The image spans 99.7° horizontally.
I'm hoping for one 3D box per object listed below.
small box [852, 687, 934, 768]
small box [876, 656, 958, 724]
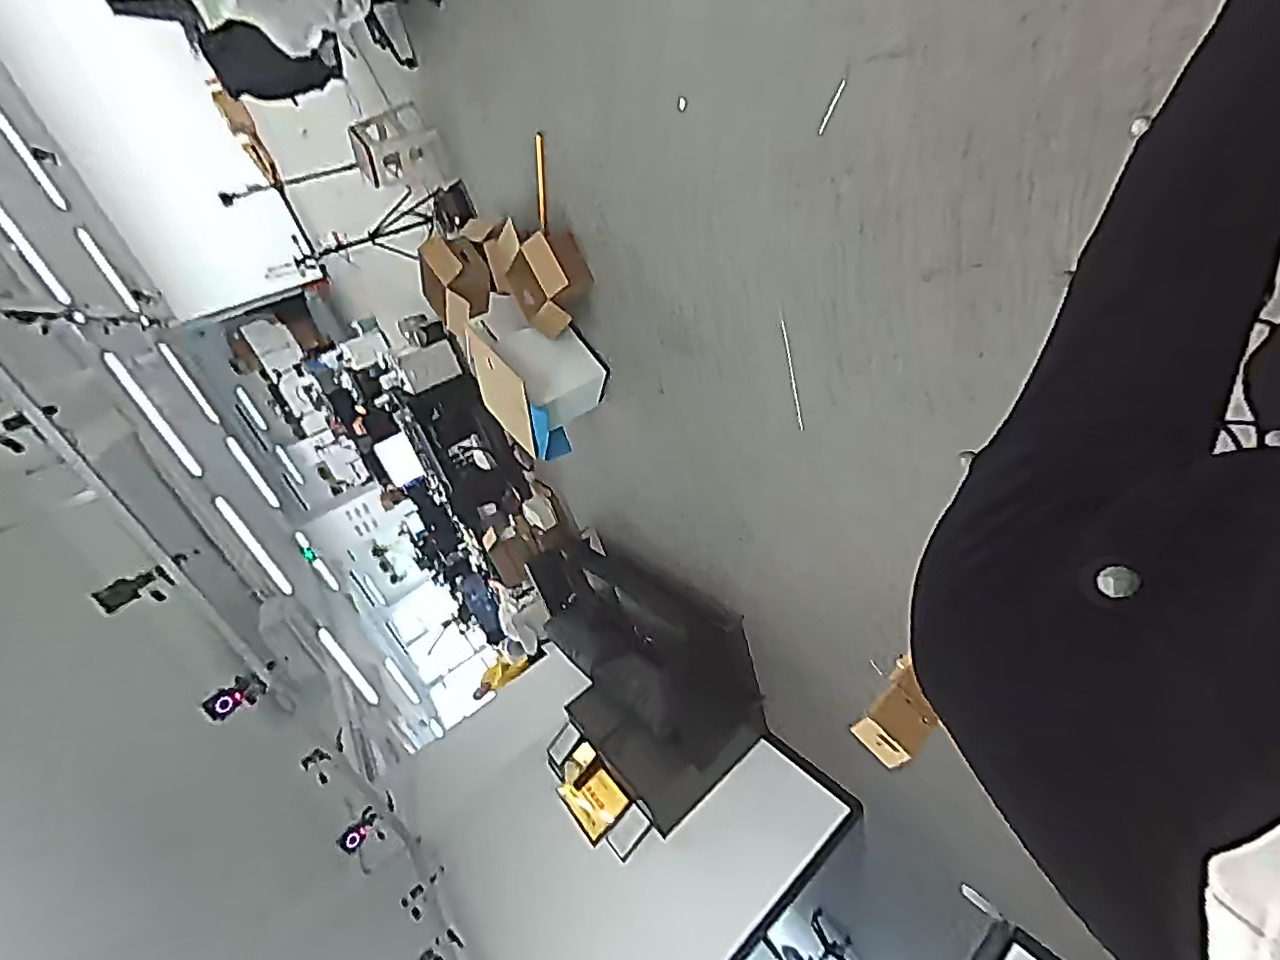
[{"bbox_3d":[0.868,0.843,1.852,0.168,0.176,0.179,43,151,26],"label":"small box"},{"bbox_3d":[0.991,0.767,1.930,0.168,0.176,0.179,43,150,27],"label":"small box"}]
